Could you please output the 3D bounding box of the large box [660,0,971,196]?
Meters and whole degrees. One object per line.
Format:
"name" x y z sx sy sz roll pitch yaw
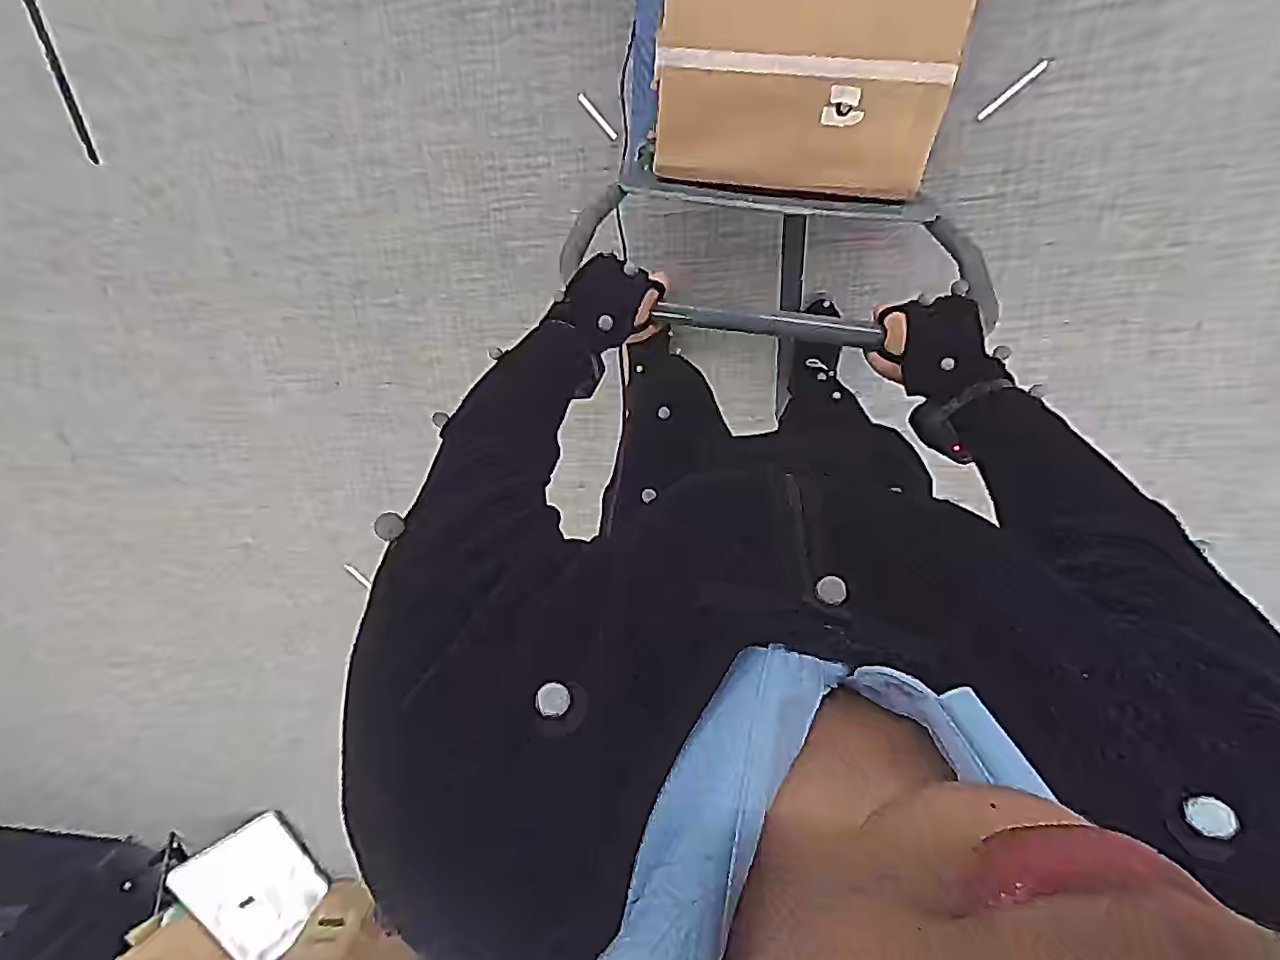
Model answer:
"large box" 0.256 -0.673 0.890 0.408 0.320 0.320 8 127 6
